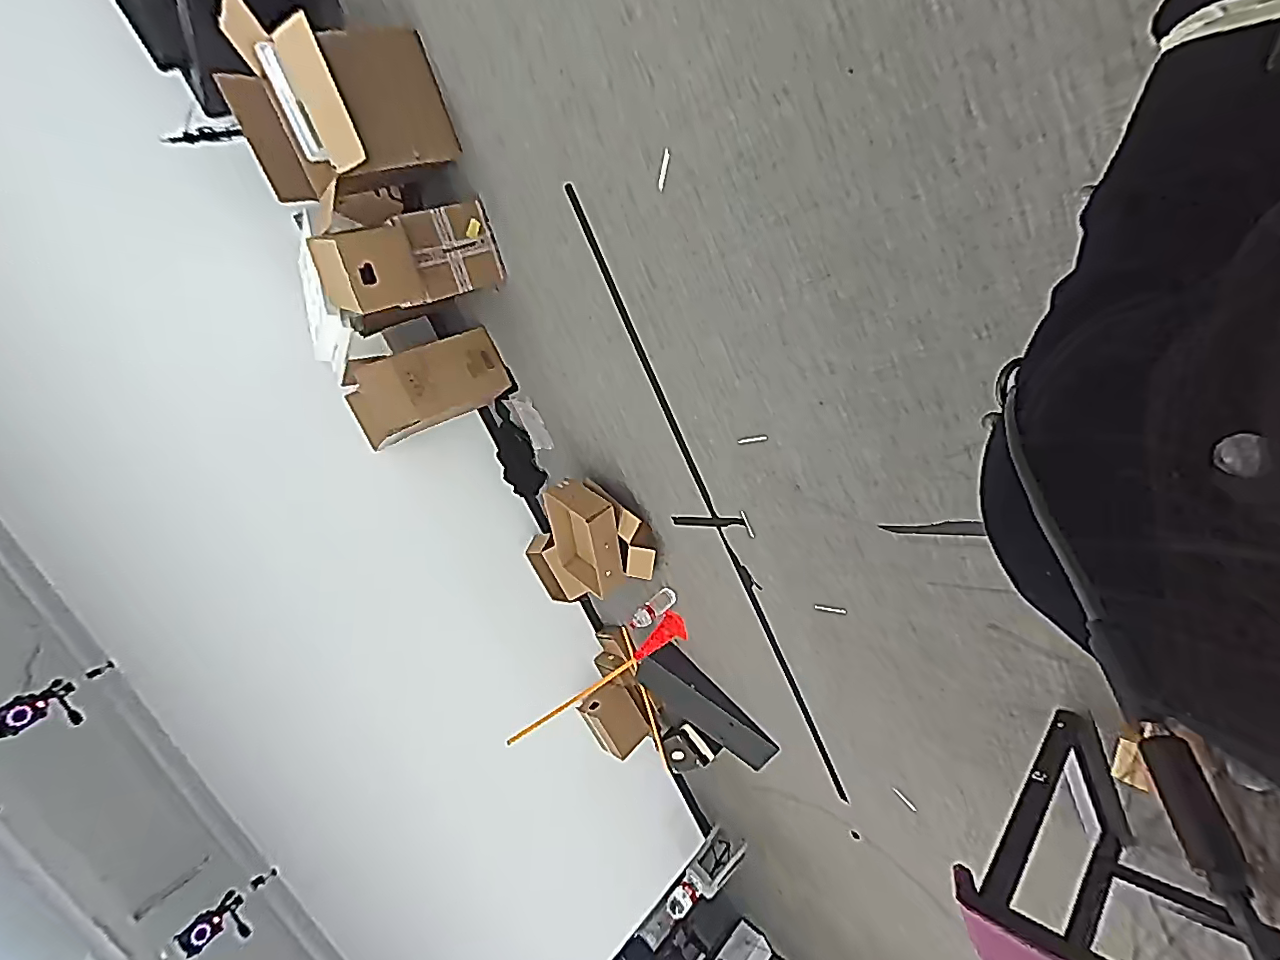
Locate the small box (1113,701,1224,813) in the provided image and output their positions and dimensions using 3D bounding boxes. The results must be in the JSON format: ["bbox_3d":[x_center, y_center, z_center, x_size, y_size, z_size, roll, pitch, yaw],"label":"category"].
[{"bbox_3d":[1.412,0.727,1.447,0.179,0.176,0.168,16,130,45],"label":"small box"}]
